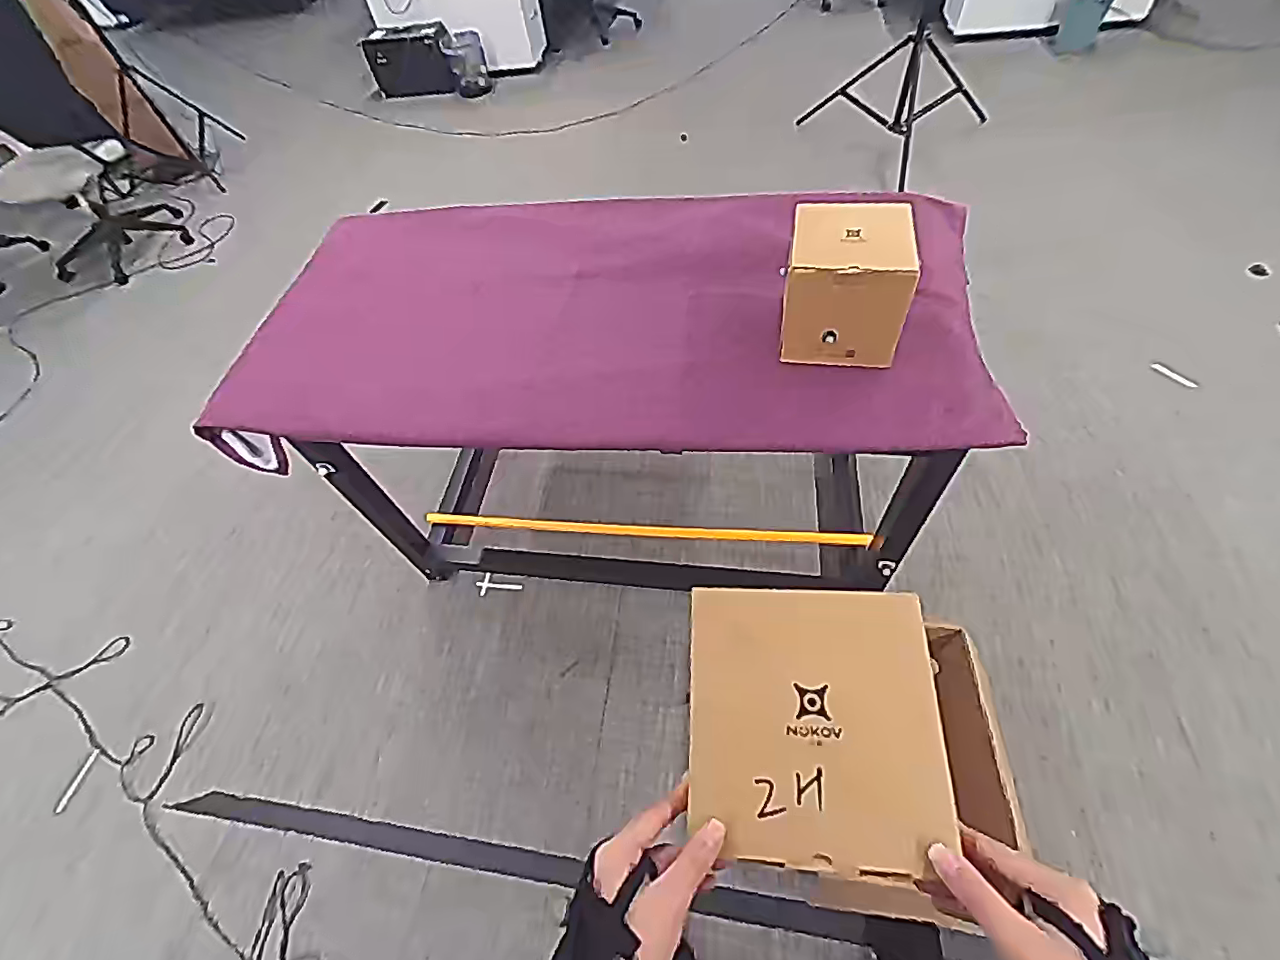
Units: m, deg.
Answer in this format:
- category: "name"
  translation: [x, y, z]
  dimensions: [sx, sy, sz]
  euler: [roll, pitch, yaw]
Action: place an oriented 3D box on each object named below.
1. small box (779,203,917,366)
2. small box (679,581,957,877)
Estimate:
- category: "small box"
  translation: [0.308, -0.300, 0.832]
  dimensions: [0.168, 0.176, 0.179]
  euler: [5, 55, 12]
- category: "small box"
  translation: [0.122, 0.192, 0.436]
  dimensions: [0.168, 0.176, 0.179]
  euler: [-1, 62, 10]
